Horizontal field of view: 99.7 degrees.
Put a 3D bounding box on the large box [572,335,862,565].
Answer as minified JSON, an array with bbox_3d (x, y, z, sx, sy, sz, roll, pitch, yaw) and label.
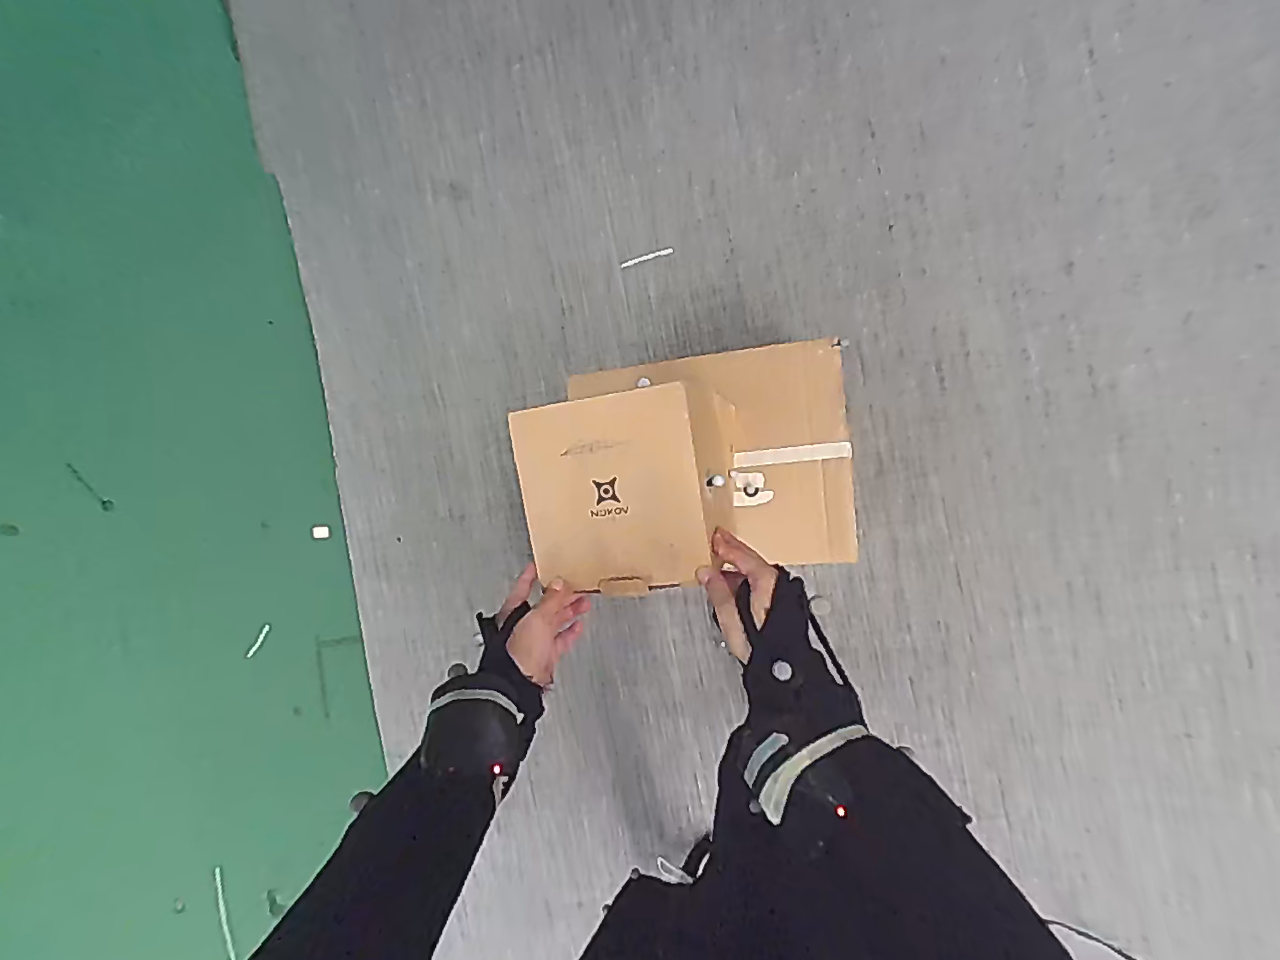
[{"bbox_3d":[0.136,-0.032,0.936,0.408,0.320,0.320,-6,92,15],"label":"large box"}]

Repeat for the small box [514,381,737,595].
[{"bbox_3d":[-0.001,0.002,0.548,0.168,0.176,0.179,-9,95,16],"label":"small box"}]
